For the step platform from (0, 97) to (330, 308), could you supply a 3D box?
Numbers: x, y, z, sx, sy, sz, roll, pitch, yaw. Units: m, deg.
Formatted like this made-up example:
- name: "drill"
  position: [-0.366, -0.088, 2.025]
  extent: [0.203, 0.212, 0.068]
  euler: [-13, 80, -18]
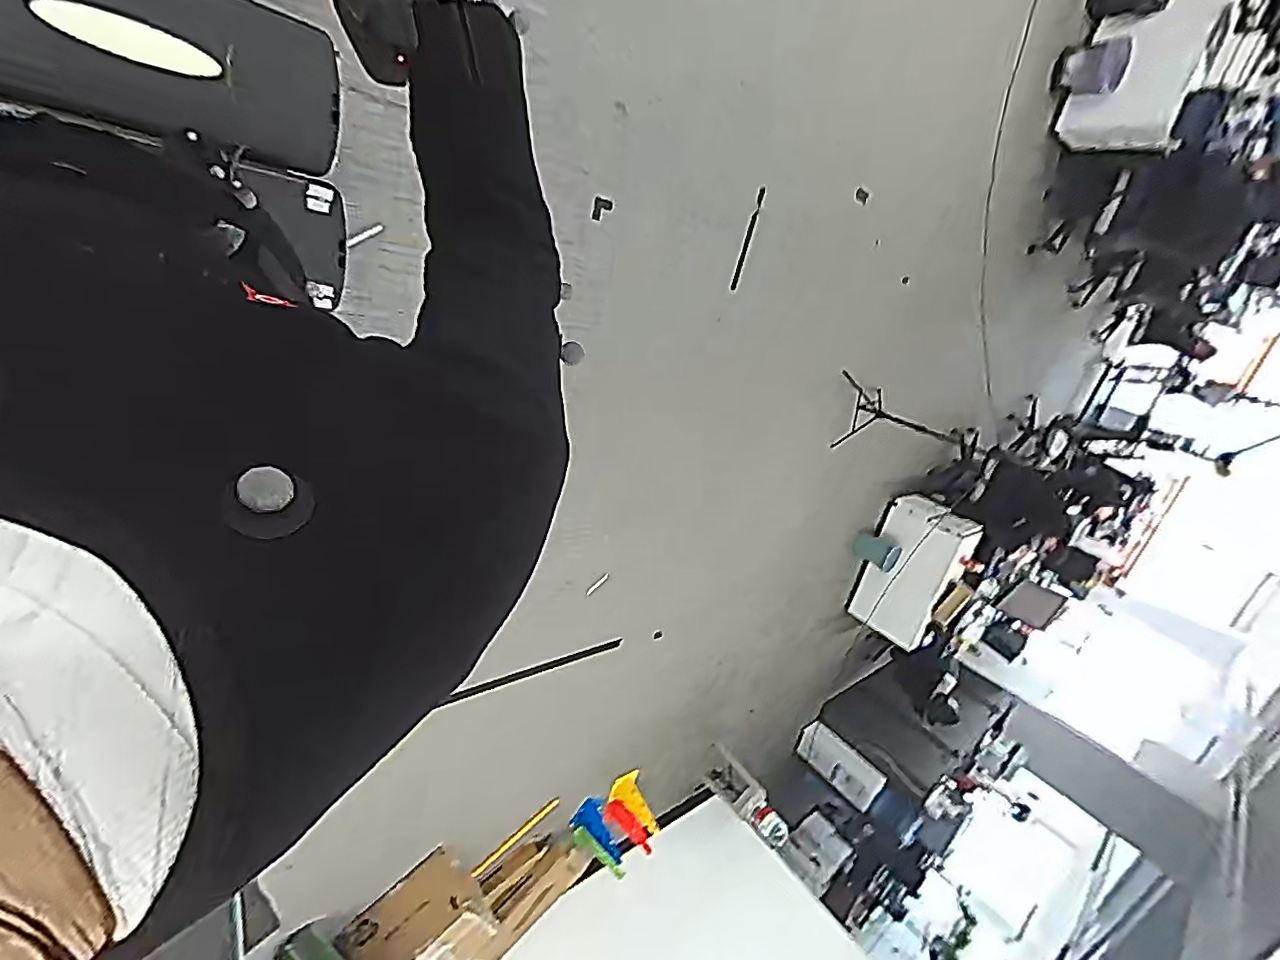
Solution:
- name: "step platform"
  position: [-0.999, -0.527, 1.055]
  extent: [0.684, 0.204, 0.286]
  euler: [-5, 117, -39]
